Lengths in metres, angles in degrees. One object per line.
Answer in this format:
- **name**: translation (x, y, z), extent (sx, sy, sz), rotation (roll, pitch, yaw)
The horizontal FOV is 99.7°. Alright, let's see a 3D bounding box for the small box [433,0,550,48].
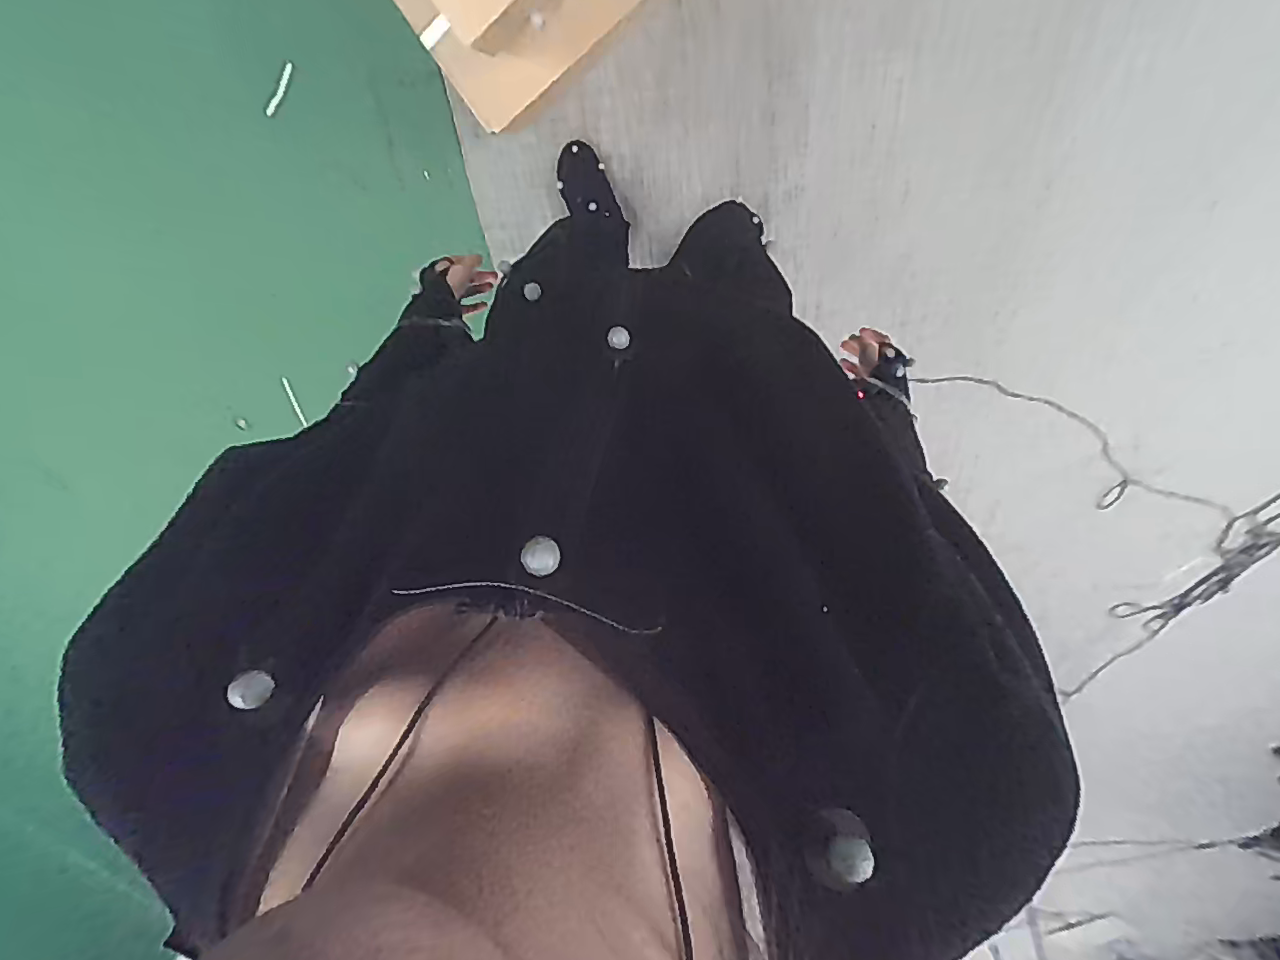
- **small box**: translation (-0.179, -0.622, 0.596), extent (0.168, 0.176, 0.179), rotation (-30, 121, 19)

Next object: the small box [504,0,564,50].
- **small box**: translation (-0.191, -0.723, 0.725), extent (0.168, 0.176, 0.179), rotation (-35, 119, 21)
